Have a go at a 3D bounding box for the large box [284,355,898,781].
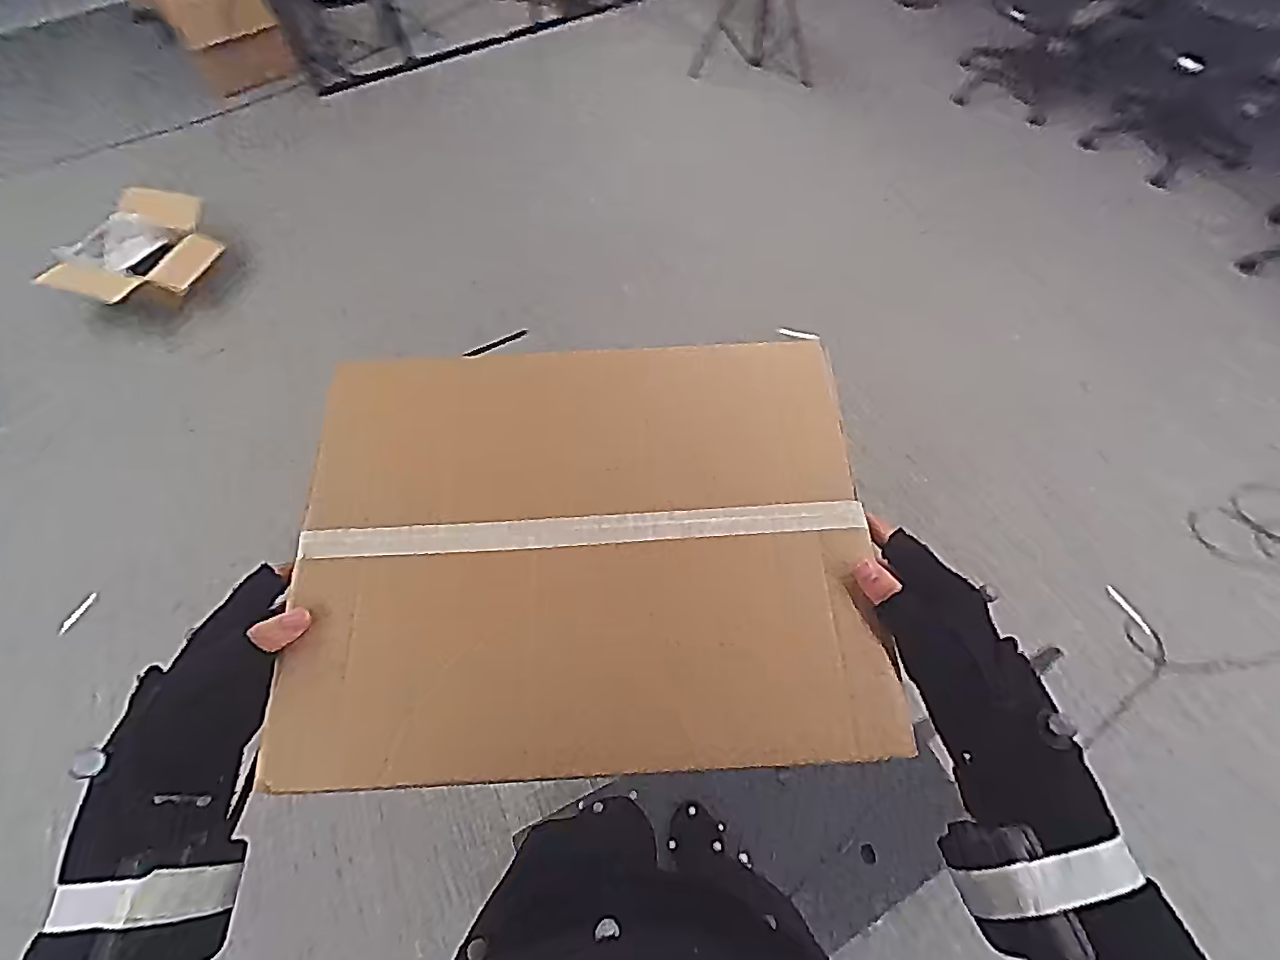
[{"bbox_3d":[-0.034,0.097,0.539,0.408,0.320,0.320,-1,67,-1],"label":"large box"}]
